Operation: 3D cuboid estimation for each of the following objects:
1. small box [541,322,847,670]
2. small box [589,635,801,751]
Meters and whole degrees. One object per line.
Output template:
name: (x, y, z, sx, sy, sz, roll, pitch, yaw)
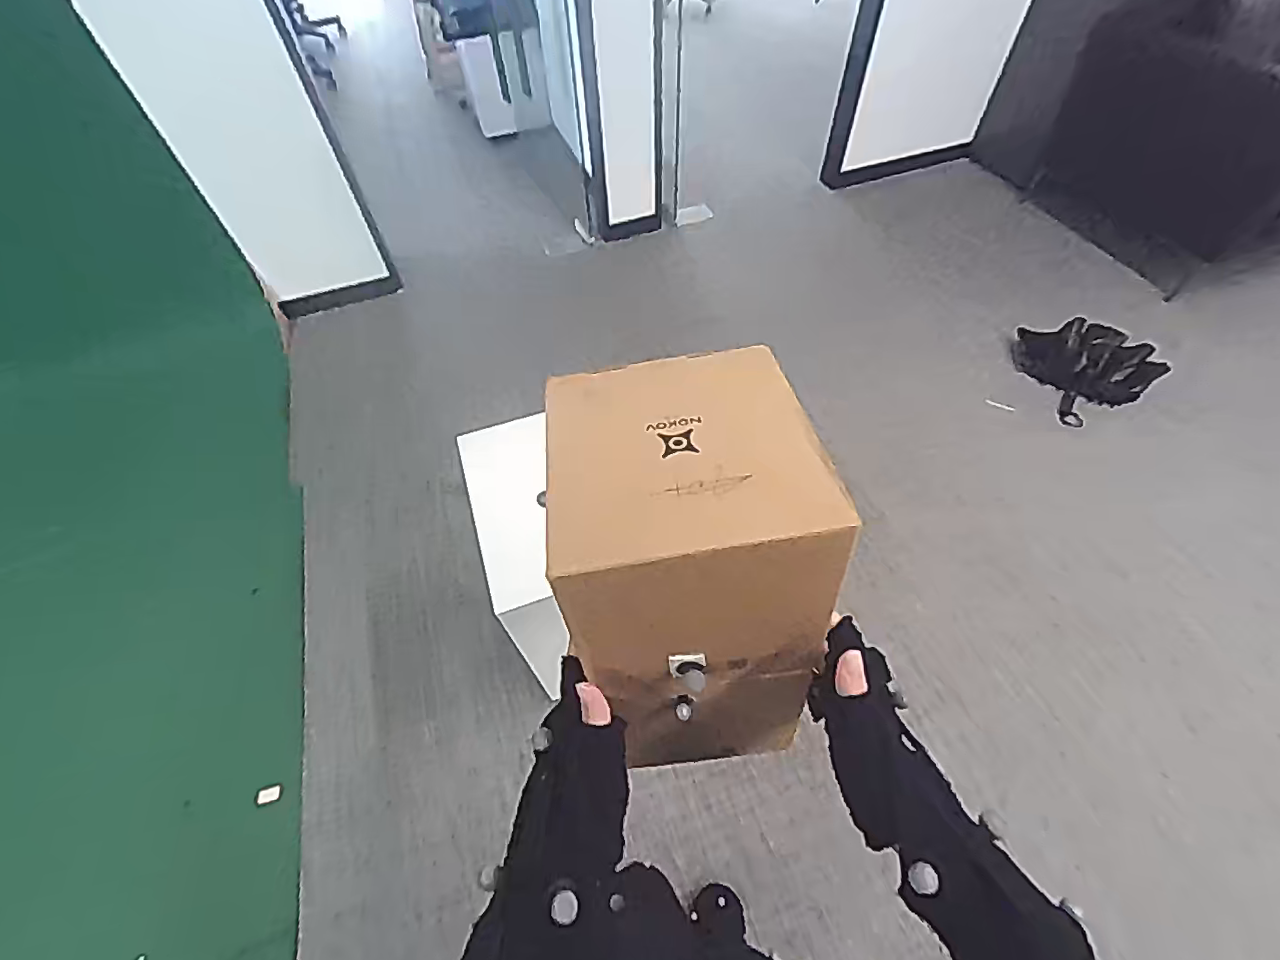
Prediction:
small box: (0.026, 0.012, 0.397, 0.168, 0.176, 0.179, -10, 46, -1)
small box: (0.043, 0.137, 0.526, 0.168, 0.176, 0.179, -7, 46, 1)
